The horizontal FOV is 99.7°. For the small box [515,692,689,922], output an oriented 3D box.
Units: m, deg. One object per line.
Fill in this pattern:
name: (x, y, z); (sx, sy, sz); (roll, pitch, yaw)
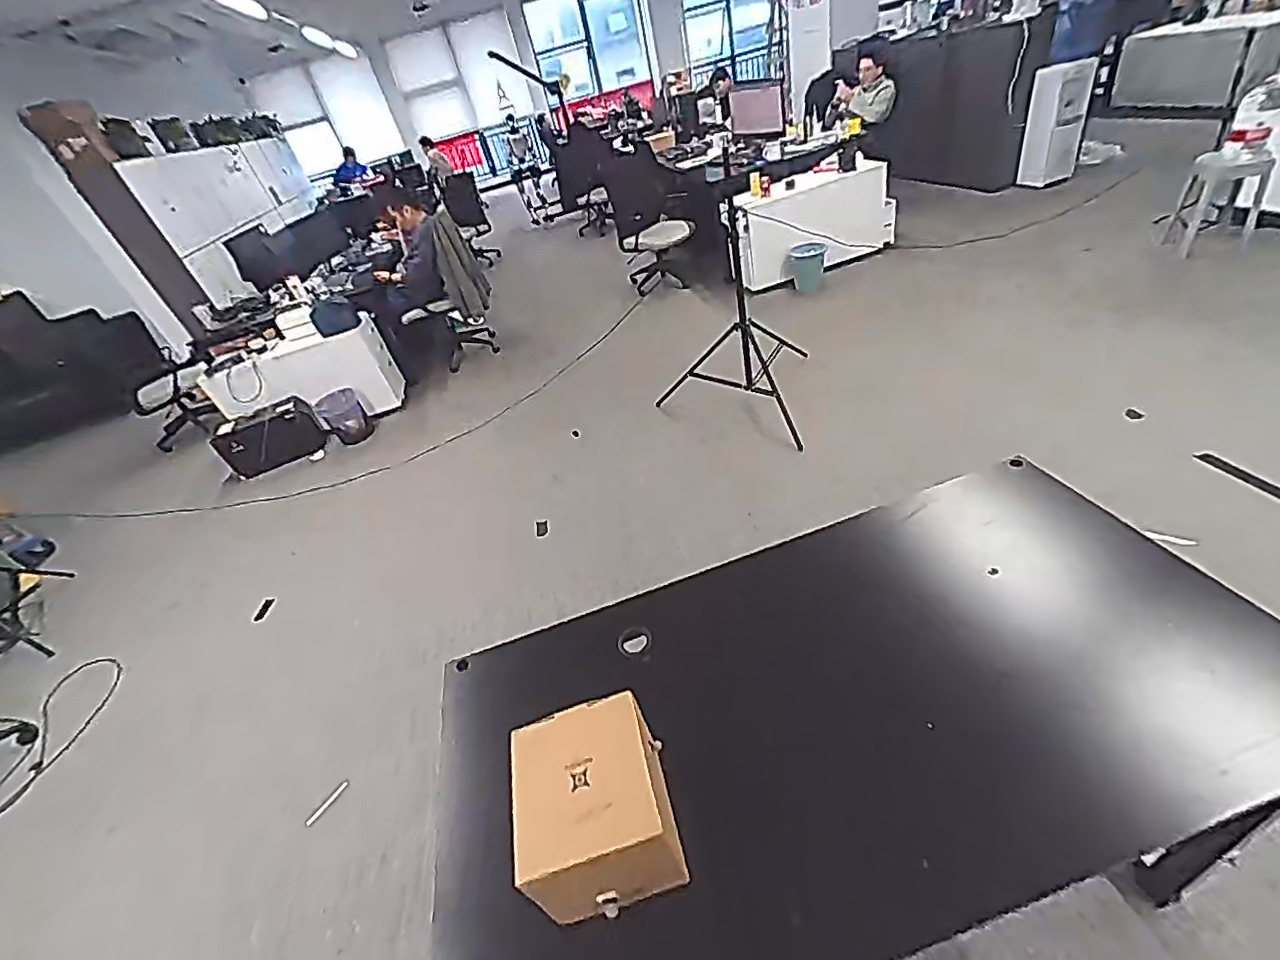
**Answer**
small box: (-0.049, 0.410, 0.684); (0.168, 0.176, 0.179); (-19, 38, -2)
